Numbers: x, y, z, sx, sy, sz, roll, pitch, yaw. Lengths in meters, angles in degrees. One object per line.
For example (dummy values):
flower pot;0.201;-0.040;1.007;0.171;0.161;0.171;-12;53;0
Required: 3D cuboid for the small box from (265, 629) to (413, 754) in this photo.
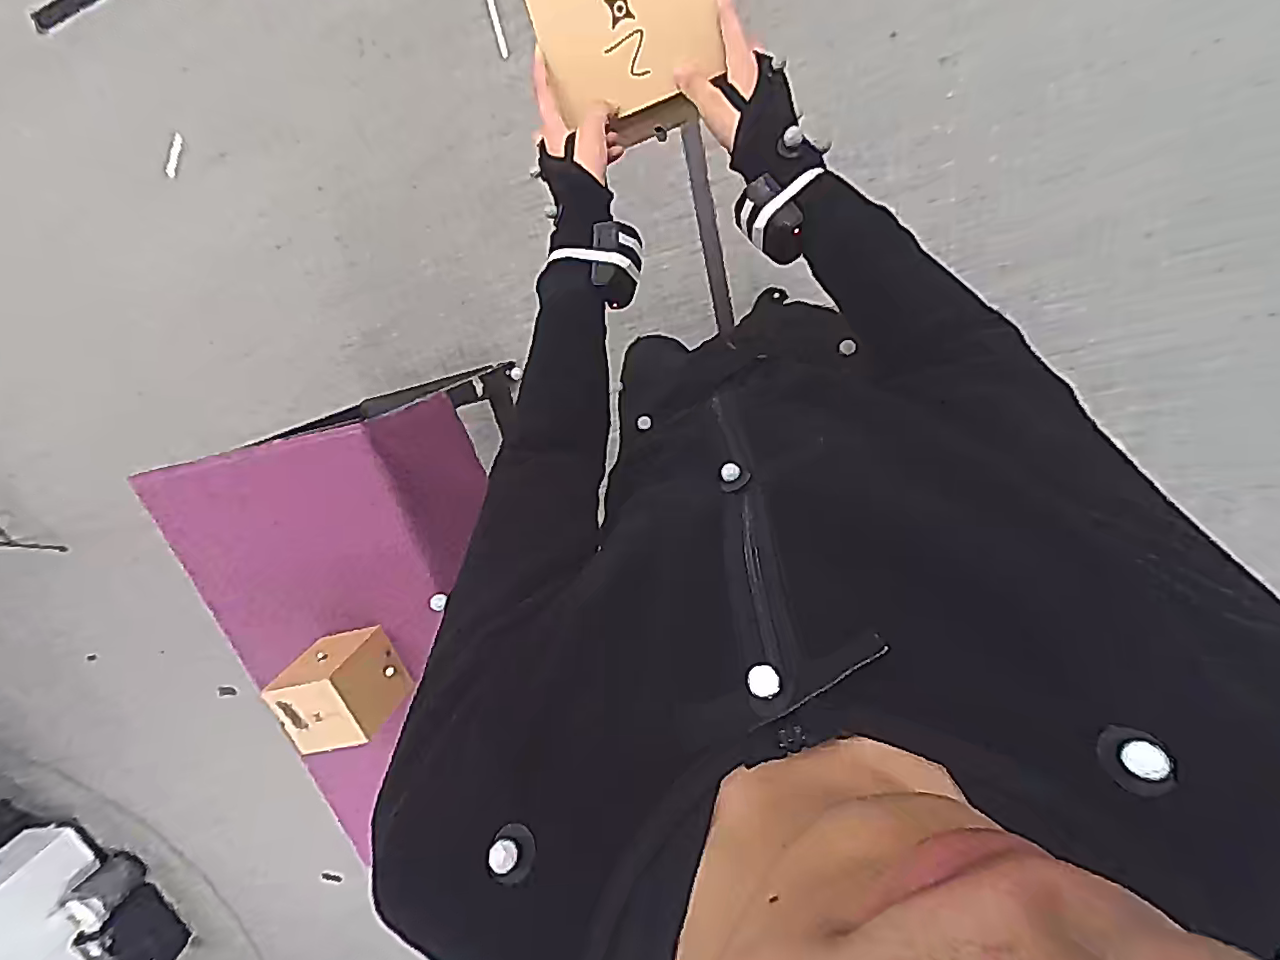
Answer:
small box;-0.624;0.441;1.141;0.179;0.176;0.168;-16;108;16
